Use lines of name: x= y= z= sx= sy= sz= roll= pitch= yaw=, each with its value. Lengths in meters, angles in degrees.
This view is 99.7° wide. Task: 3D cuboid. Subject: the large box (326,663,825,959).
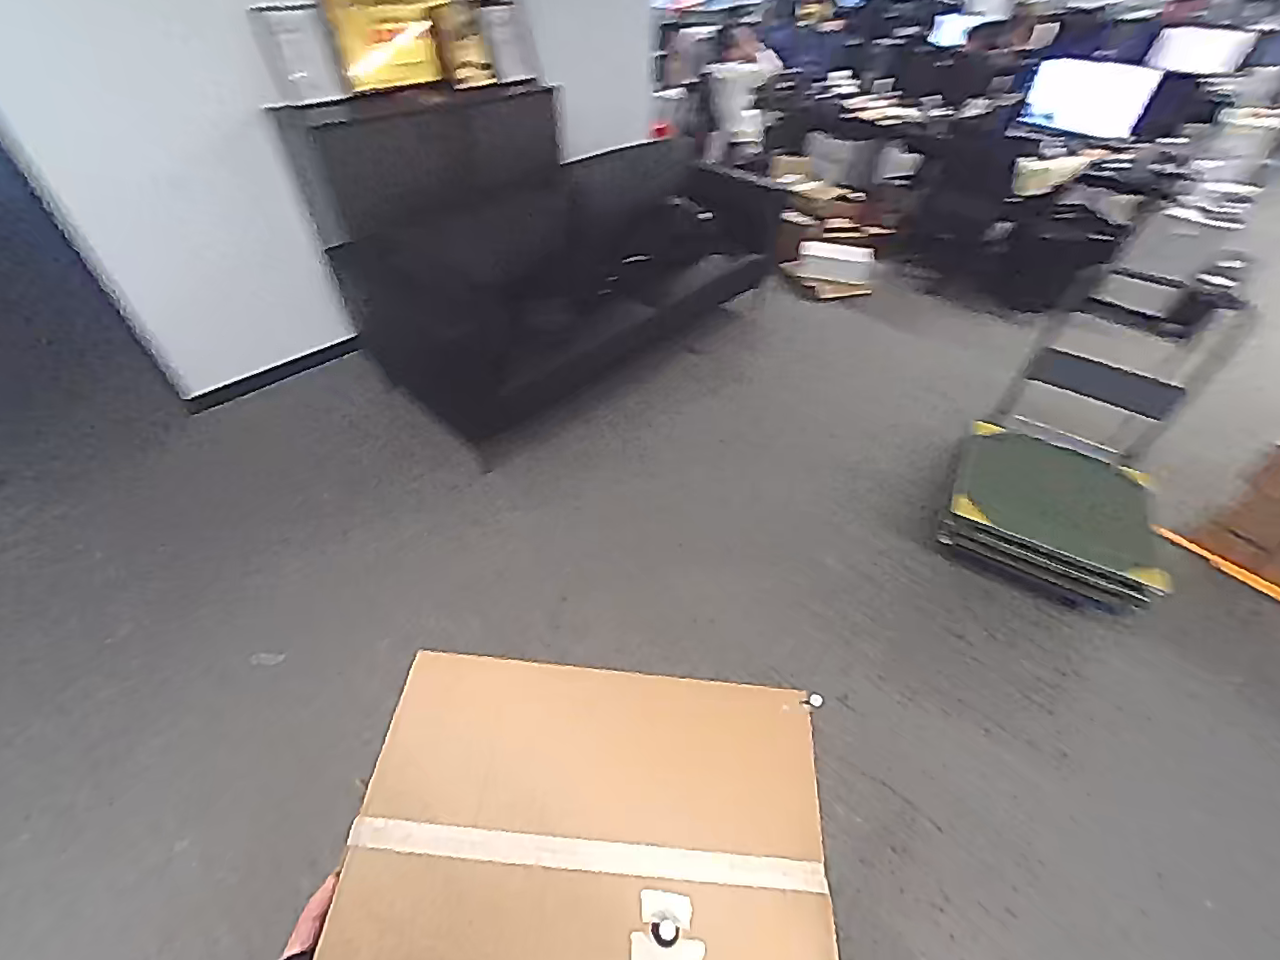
large box: x=-0.055 y=0.416 z=0.589 sx=0.408 sy=0.320 sz=0.320 roll=5 pitch=53 yaw=-1
